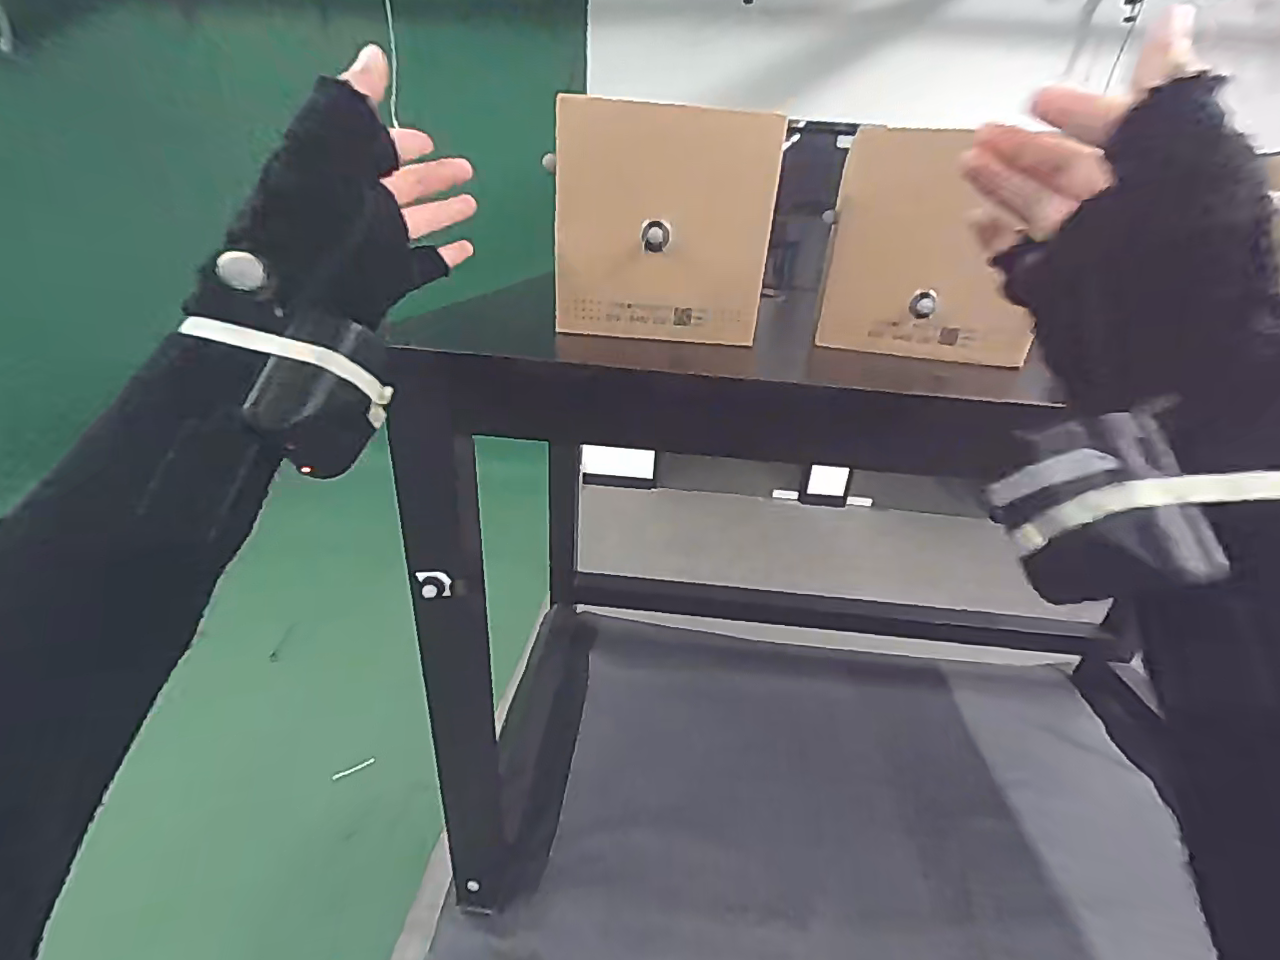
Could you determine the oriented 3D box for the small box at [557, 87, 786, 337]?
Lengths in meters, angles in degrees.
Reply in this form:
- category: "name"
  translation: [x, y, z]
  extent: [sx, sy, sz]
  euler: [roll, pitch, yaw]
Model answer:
- category: "small box"
  translation: [0.021, -0.231, 0.488]
  extent: [0.168, 0.176, 0.179]
  euler: [4, 25, -1]
